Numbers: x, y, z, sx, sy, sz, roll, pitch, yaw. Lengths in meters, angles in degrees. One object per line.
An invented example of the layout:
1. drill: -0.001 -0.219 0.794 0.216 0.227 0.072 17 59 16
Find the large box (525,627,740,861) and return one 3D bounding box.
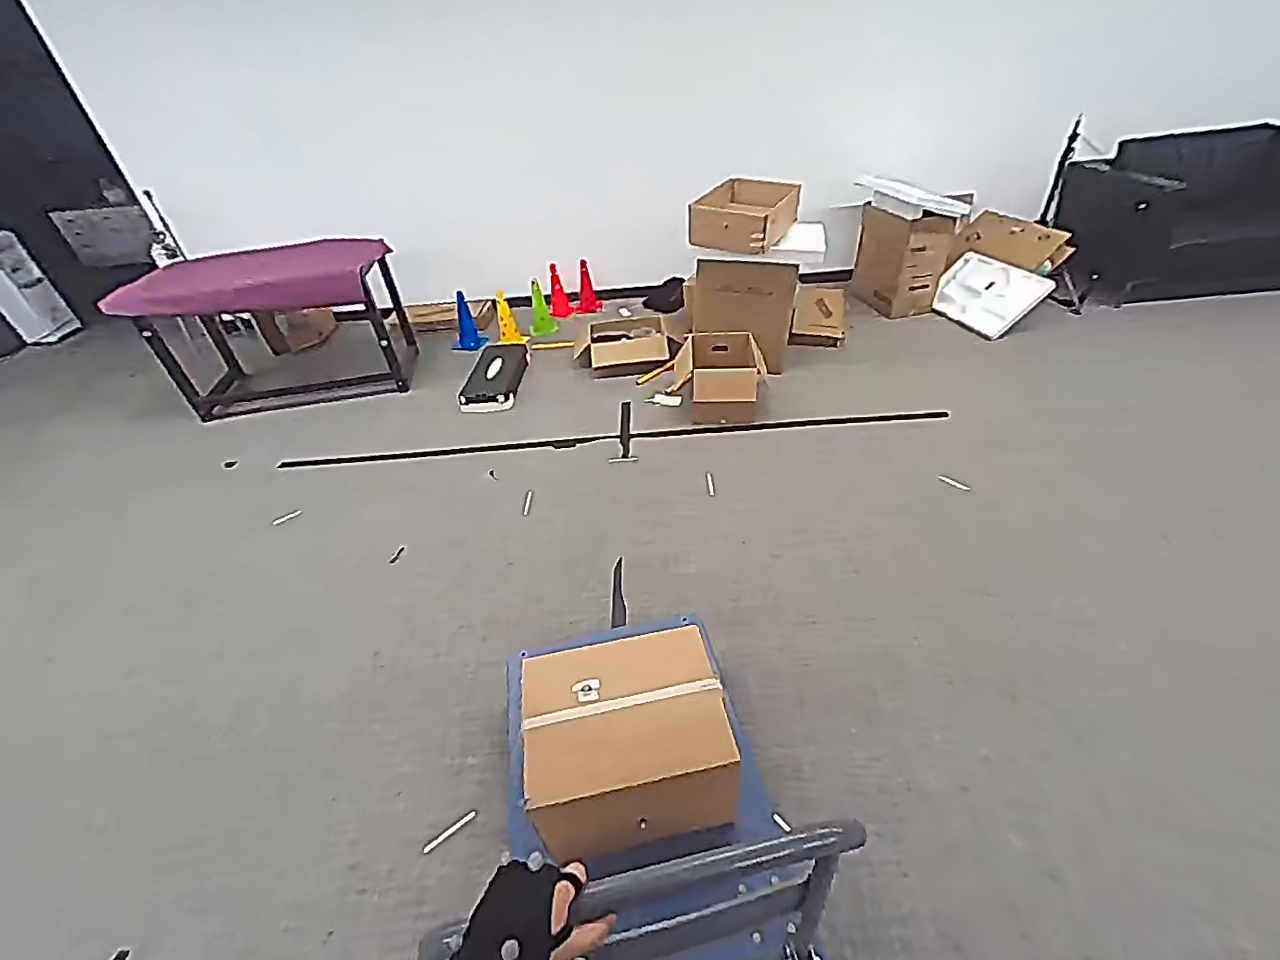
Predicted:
1. large box: -0.018 0.583 1.206 0.408 0.320 0.320 -11 38 -5
